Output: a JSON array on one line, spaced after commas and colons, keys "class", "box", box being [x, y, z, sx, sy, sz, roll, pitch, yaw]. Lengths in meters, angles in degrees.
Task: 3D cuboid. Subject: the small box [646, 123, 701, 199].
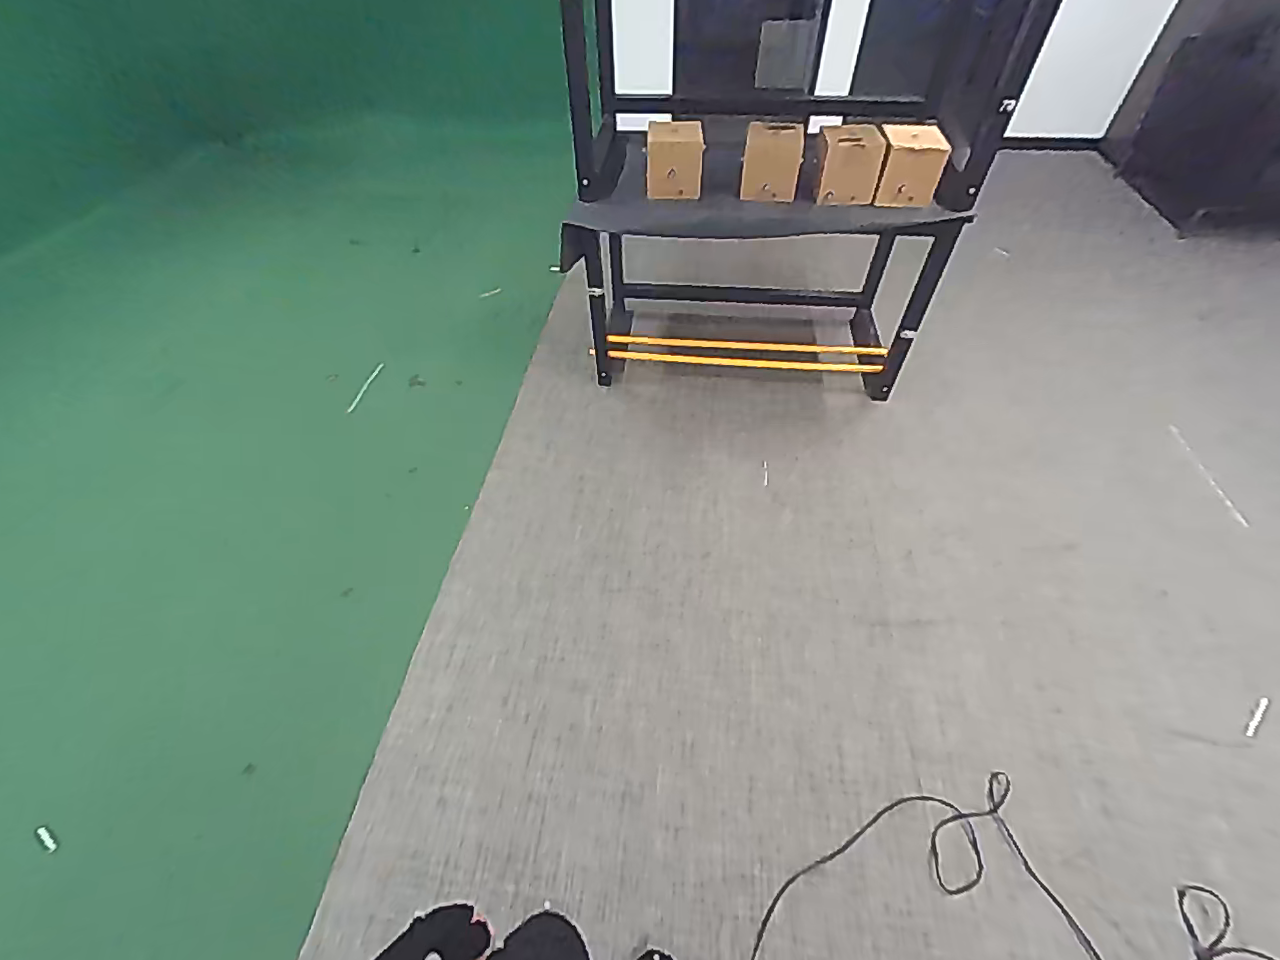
[{"class": "small box", "box": [0.103, -1.002, 1.703, 0.168, 0.176, 0.179, 1, 49, 1]}]
